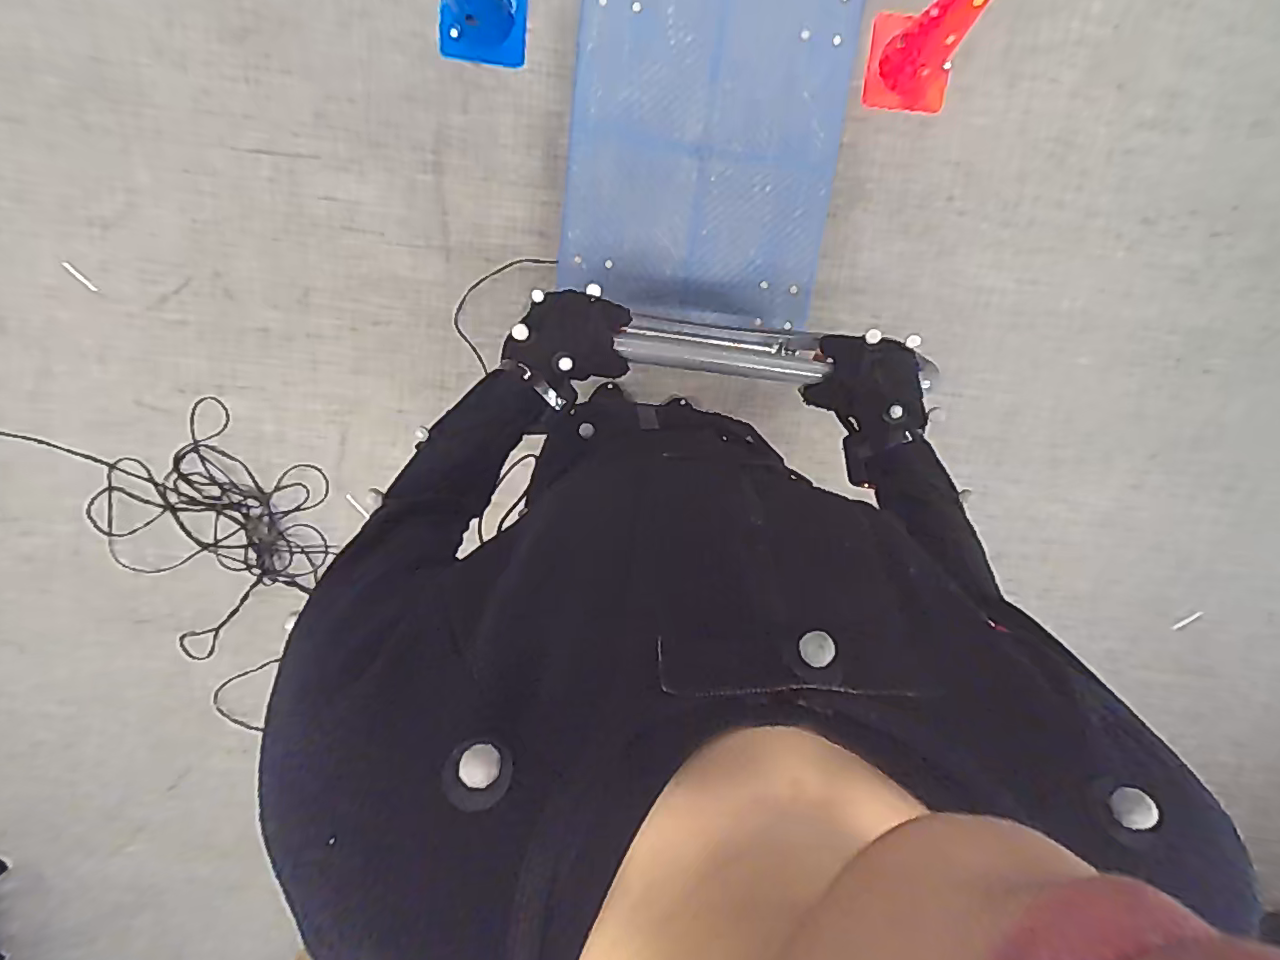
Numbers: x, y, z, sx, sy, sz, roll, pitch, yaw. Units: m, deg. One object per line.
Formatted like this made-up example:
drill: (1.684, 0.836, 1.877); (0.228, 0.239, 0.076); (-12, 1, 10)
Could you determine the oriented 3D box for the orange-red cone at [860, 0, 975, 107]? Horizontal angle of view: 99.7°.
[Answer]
orange-red cone: (0.637, -0.977, 1.126); (0.199, 0.360, 0.198); (6, 101, -1)
